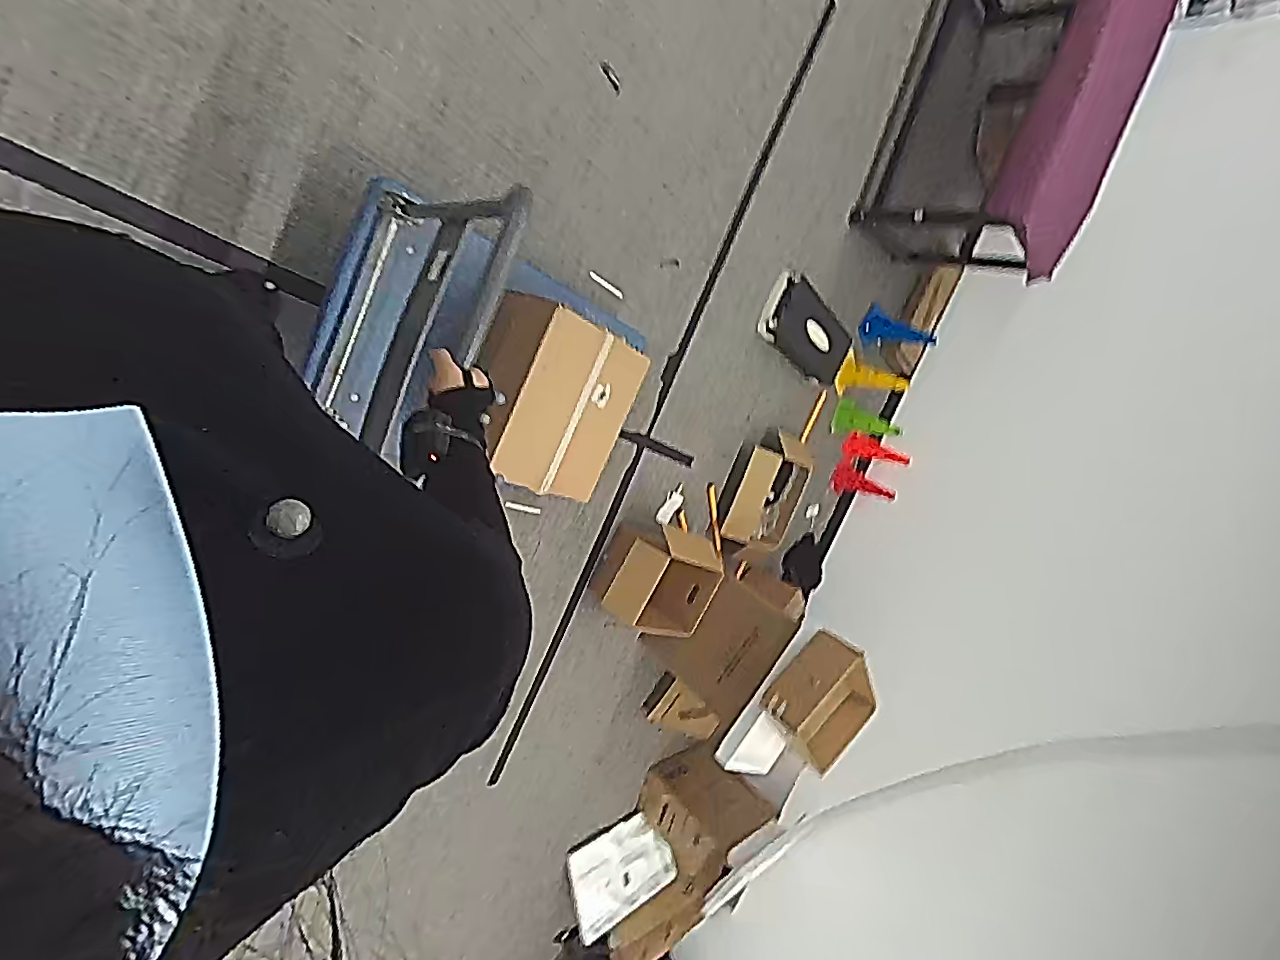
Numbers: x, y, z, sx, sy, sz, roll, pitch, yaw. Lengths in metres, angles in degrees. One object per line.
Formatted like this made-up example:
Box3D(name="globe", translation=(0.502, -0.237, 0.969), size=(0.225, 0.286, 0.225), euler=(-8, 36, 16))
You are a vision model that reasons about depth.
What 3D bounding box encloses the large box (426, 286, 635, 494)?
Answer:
Box3D(name="large box", translation=(-0.282, -0.225, 1.372), size=(0.320, 0.320, 0.408), euler=(20, 95, -48))
